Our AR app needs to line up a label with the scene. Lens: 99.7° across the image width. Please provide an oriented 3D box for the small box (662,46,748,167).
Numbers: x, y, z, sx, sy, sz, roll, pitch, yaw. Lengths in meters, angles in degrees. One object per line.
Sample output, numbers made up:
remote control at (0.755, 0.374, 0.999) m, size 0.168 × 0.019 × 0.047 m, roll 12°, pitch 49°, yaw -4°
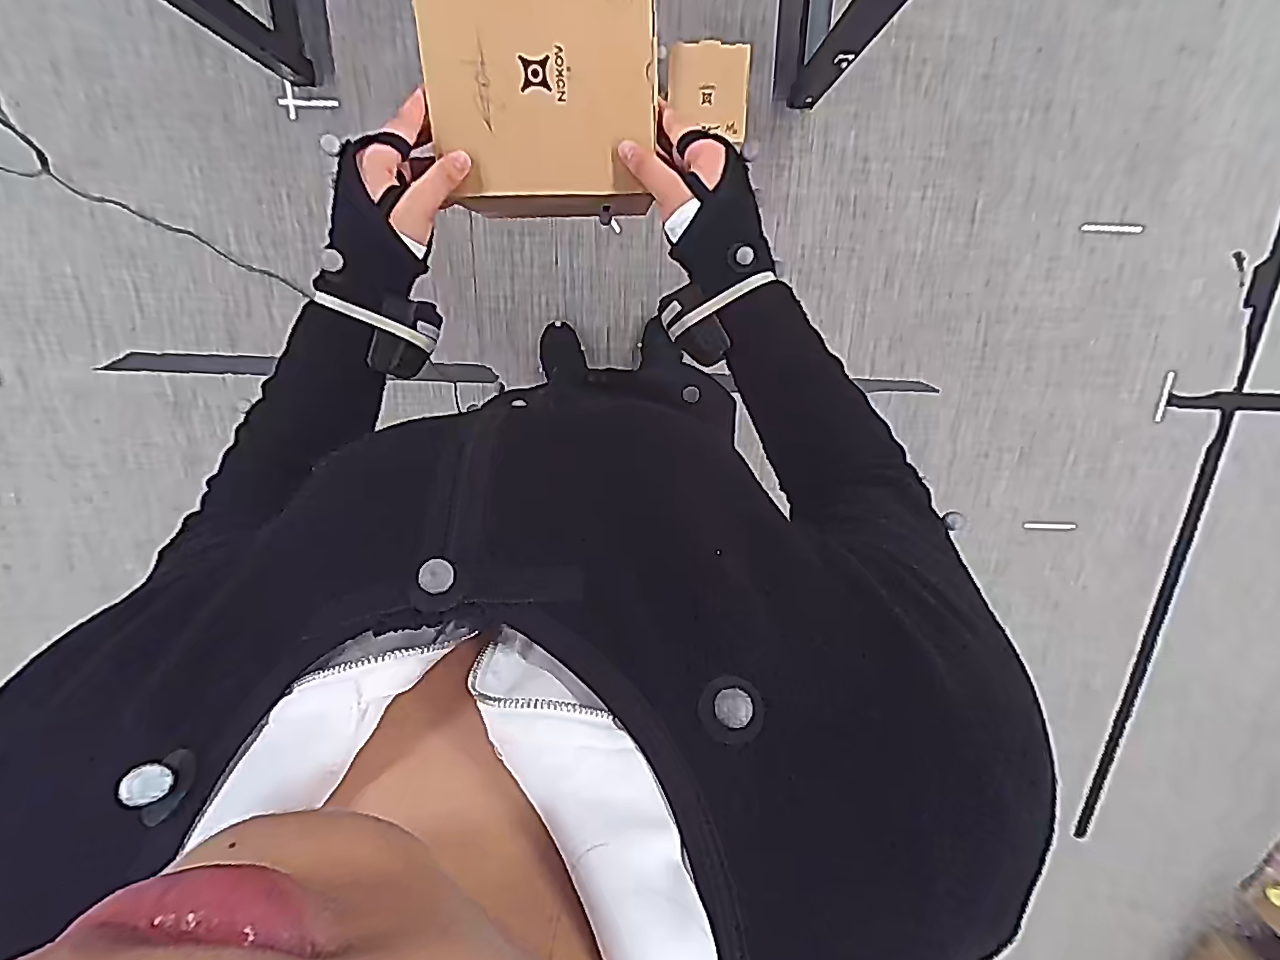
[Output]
small box at (0.134, -0.810, 1.188) m, size 0.168 × 0.176 × 0.179 m, roll 1°, pitch 107°, yaw -1°

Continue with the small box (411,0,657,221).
small box at (-0.079, -0.331, 0.479) m, size 0.179 × 0.176 × 0.168 m, roll -3°, pitch 109°, yaw -1°
